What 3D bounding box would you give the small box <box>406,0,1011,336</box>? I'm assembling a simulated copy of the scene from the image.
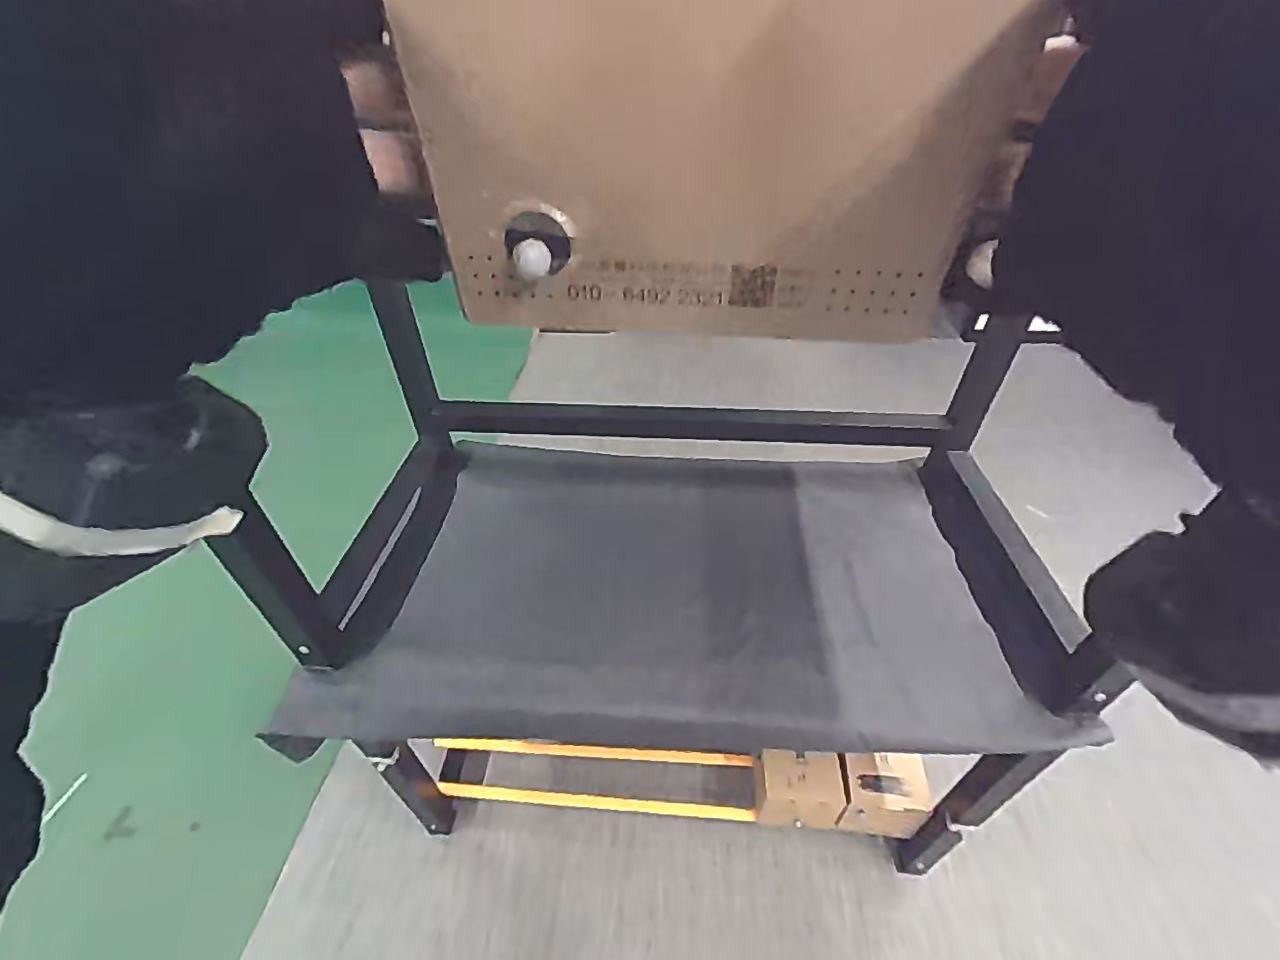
[{"bbox_3d":[0.024,-0.171,0.207,0.168,0.176,0.179,4,45,3],"label":"small box"}]
